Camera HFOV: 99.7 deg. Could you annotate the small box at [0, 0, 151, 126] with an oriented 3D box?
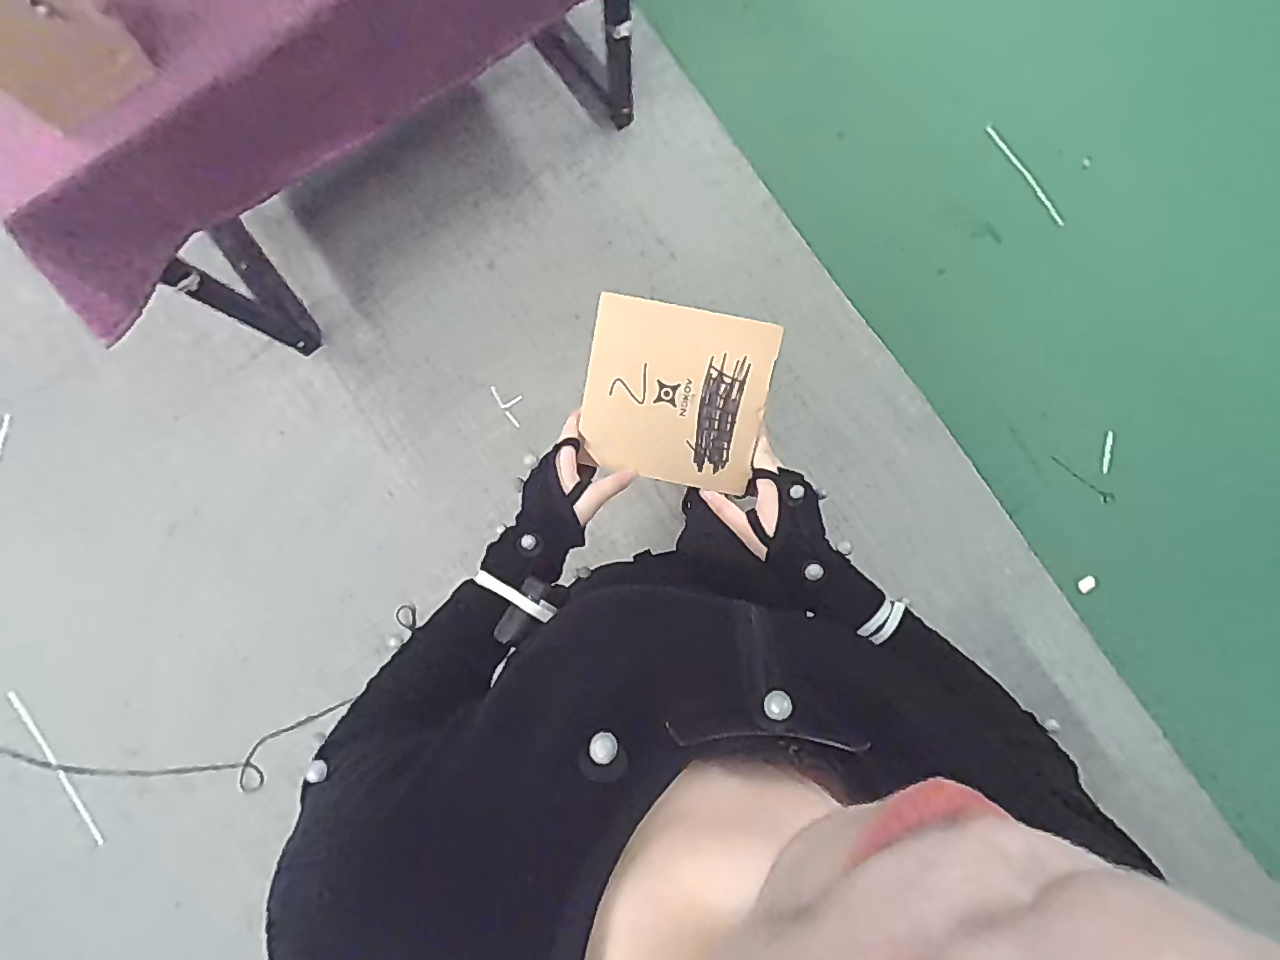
[{"bbox_3d":[-0.851,-0.644,0.744,0.179,0.176,0.168,-37,86,-4],"label":"small box"}]
